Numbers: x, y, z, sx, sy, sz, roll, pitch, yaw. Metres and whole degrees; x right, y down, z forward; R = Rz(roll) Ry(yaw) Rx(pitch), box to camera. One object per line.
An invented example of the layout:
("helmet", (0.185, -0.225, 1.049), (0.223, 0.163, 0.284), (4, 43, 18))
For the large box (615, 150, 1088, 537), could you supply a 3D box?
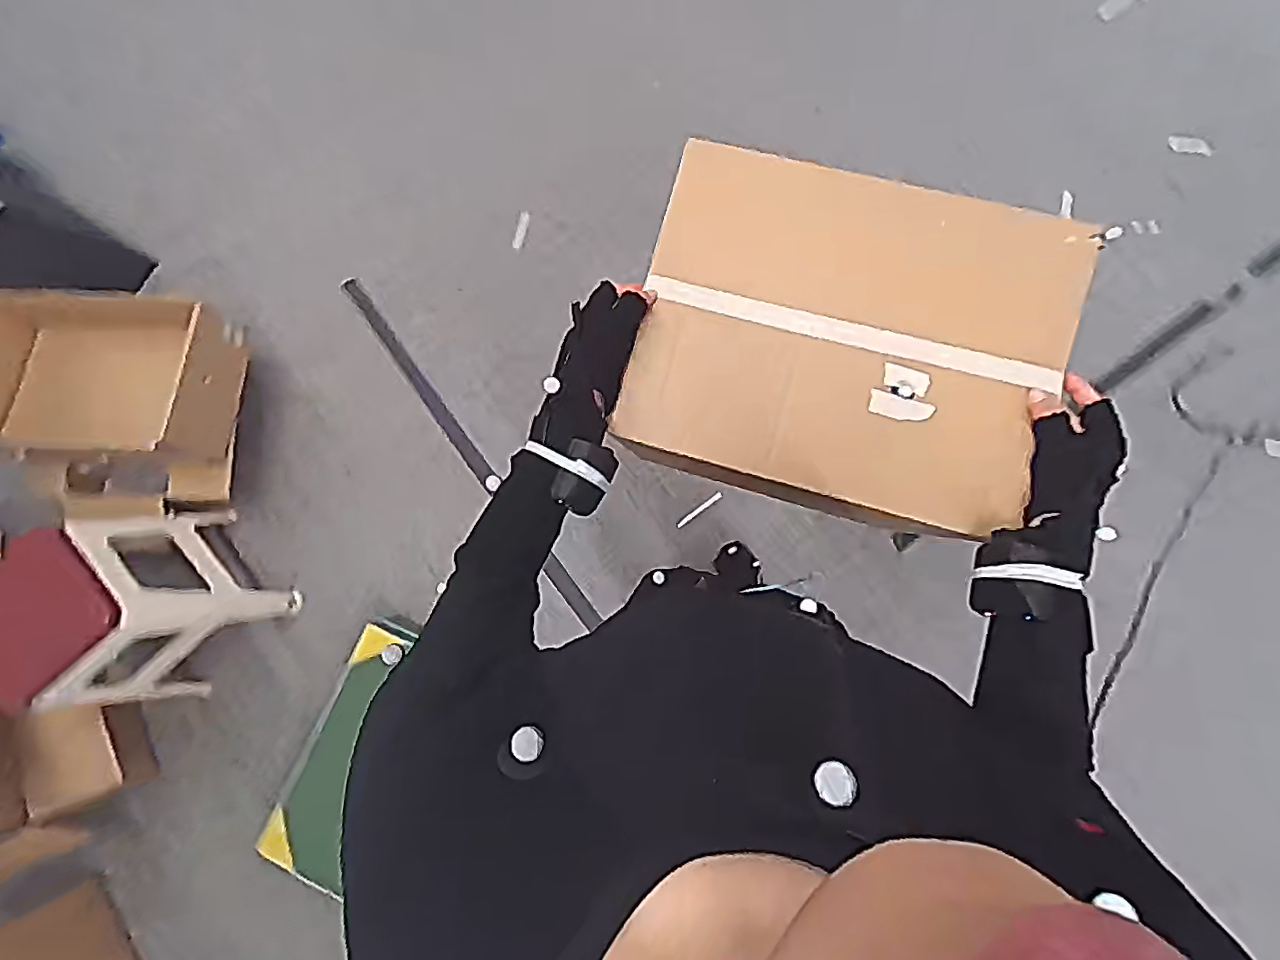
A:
("large box", (0.216, -0.139, 0.689), (0.408, 0.320, 0.320), (18, 91, 6))
